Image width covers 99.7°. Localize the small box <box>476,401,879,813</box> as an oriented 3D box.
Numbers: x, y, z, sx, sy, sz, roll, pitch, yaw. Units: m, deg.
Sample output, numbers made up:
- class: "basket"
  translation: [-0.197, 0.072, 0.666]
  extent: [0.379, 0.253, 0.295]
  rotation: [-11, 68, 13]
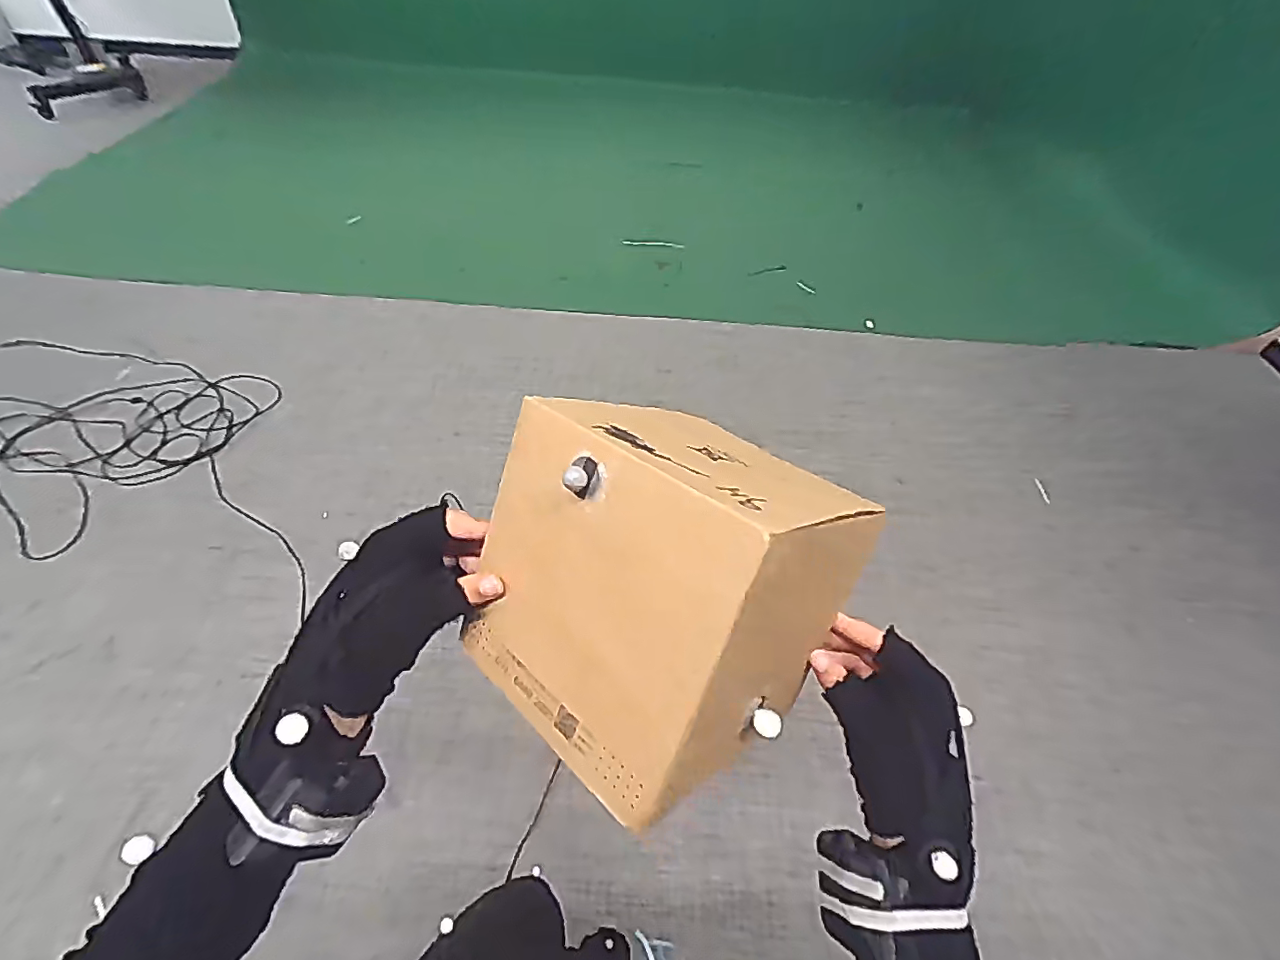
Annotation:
- class: "small box"
  translation: [0.022, 0.064, 0.355]
  extent: [0.168, 0.176, 0.179]
  rotation: [30, 18, 35]
